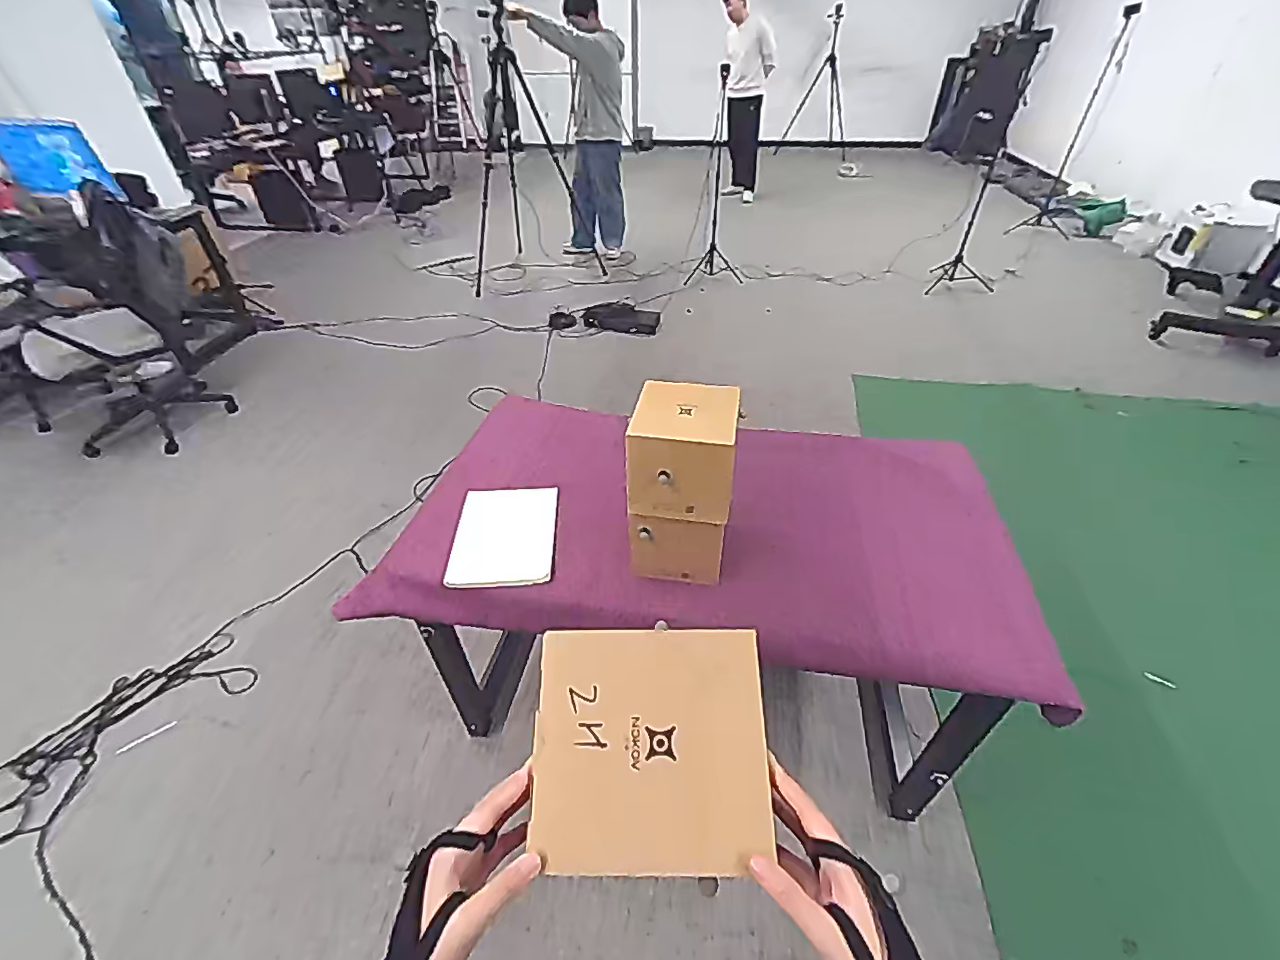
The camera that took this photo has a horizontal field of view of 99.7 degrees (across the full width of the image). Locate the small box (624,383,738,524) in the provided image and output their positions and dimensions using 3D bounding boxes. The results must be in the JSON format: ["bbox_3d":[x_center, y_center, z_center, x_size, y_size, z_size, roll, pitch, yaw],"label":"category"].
[{"bbox_3d":[0.074,-0.045,0.917,0.168,0.176,0.179,6,39,9],"label":"small box"}]

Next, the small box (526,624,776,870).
[{"bbox_3d":[0.011,0.228,0.478,0.179,0.176,0.168,-1,62,2],"label":"small box"}]
